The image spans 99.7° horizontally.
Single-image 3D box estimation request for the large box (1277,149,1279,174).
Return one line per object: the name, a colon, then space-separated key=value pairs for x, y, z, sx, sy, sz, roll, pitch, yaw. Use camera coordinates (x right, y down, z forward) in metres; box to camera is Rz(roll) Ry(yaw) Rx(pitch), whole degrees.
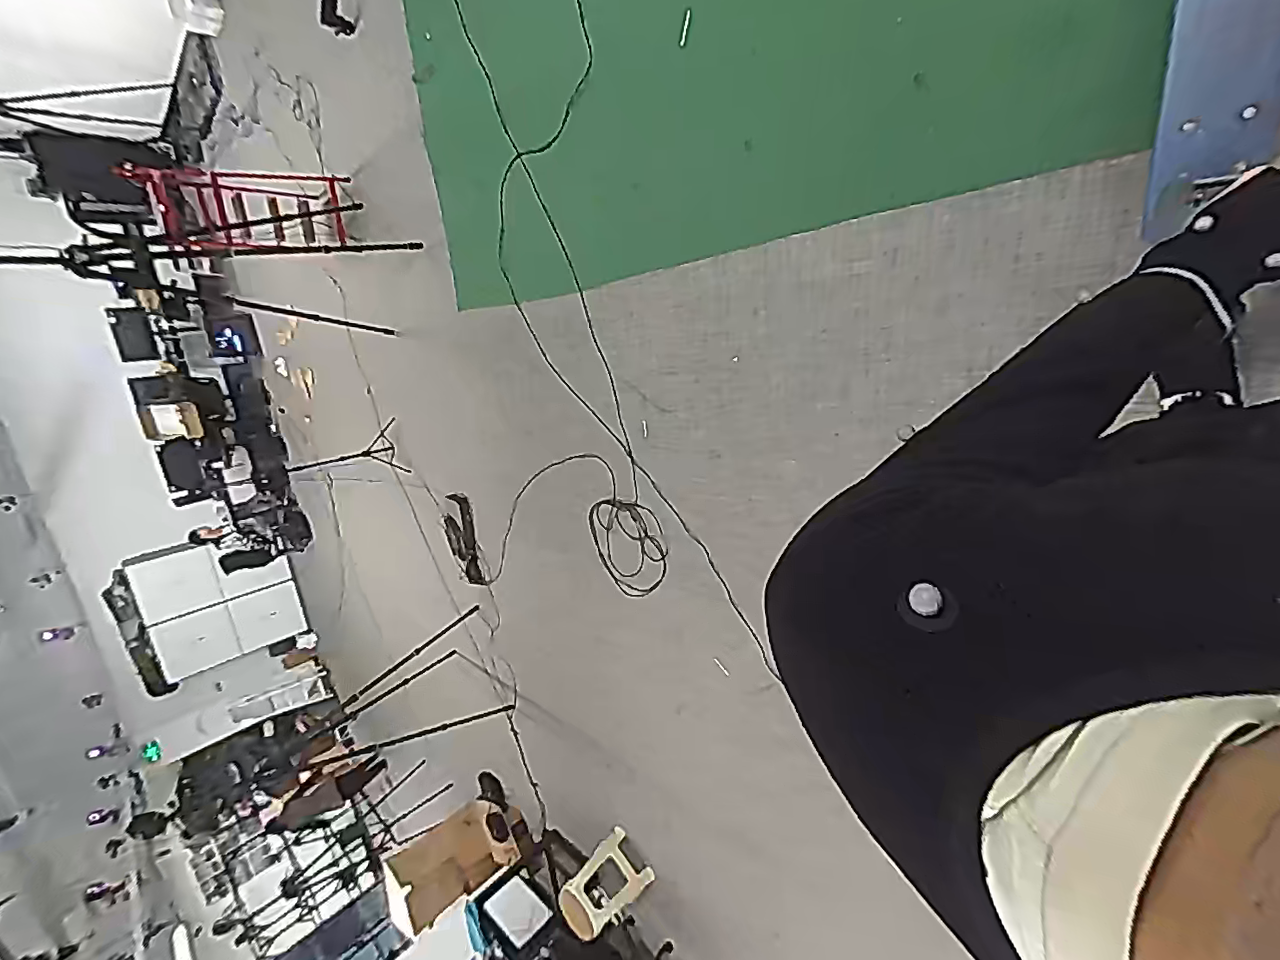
large box: x=1.028 y=-0.636 z=0.637 sx=0.320 sy=0.320 sz=0.408 roll=9 pitch=109 yaw=43
